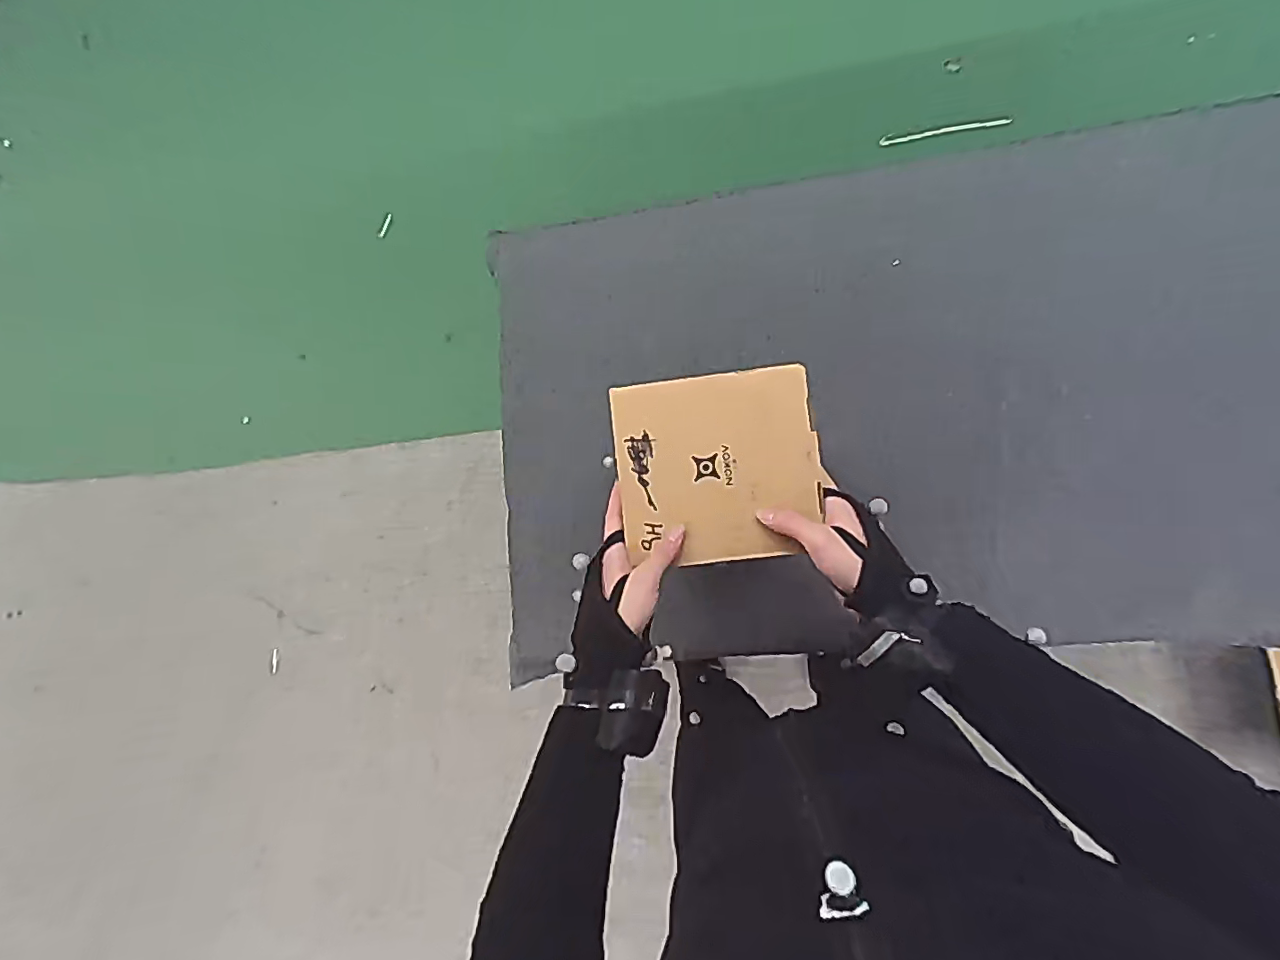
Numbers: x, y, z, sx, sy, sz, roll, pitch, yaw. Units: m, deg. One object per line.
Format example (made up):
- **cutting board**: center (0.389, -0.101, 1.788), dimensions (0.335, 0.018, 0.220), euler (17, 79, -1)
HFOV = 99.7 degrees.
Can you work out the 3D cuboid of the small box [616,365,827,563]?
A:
- **small box**: center (0.075, -0.010, 0.557), dimensions (0.179, 0.176, 0.168), euler (-6, 86, 4)
